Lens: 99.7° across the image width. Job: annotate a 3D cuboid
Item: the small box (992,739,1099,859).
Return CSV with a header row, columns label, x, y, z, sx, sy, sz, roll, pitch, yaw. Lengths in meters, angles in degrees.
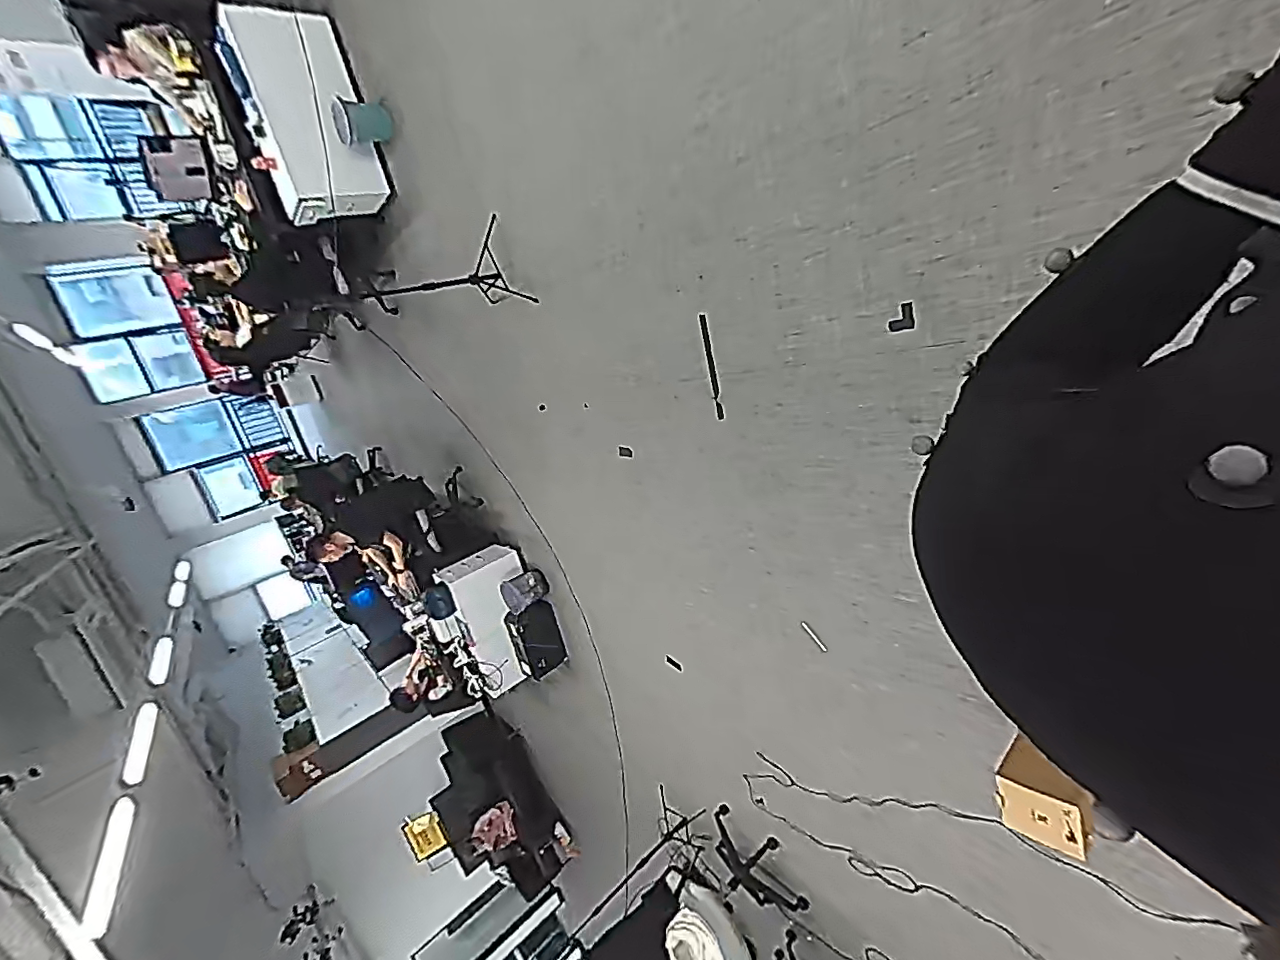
label,x,y,z,sx,sy,sz,roll,pitch,yaw
small box,1.036,0.800,1.382,0.179,0.176,0.168,3,114,53
